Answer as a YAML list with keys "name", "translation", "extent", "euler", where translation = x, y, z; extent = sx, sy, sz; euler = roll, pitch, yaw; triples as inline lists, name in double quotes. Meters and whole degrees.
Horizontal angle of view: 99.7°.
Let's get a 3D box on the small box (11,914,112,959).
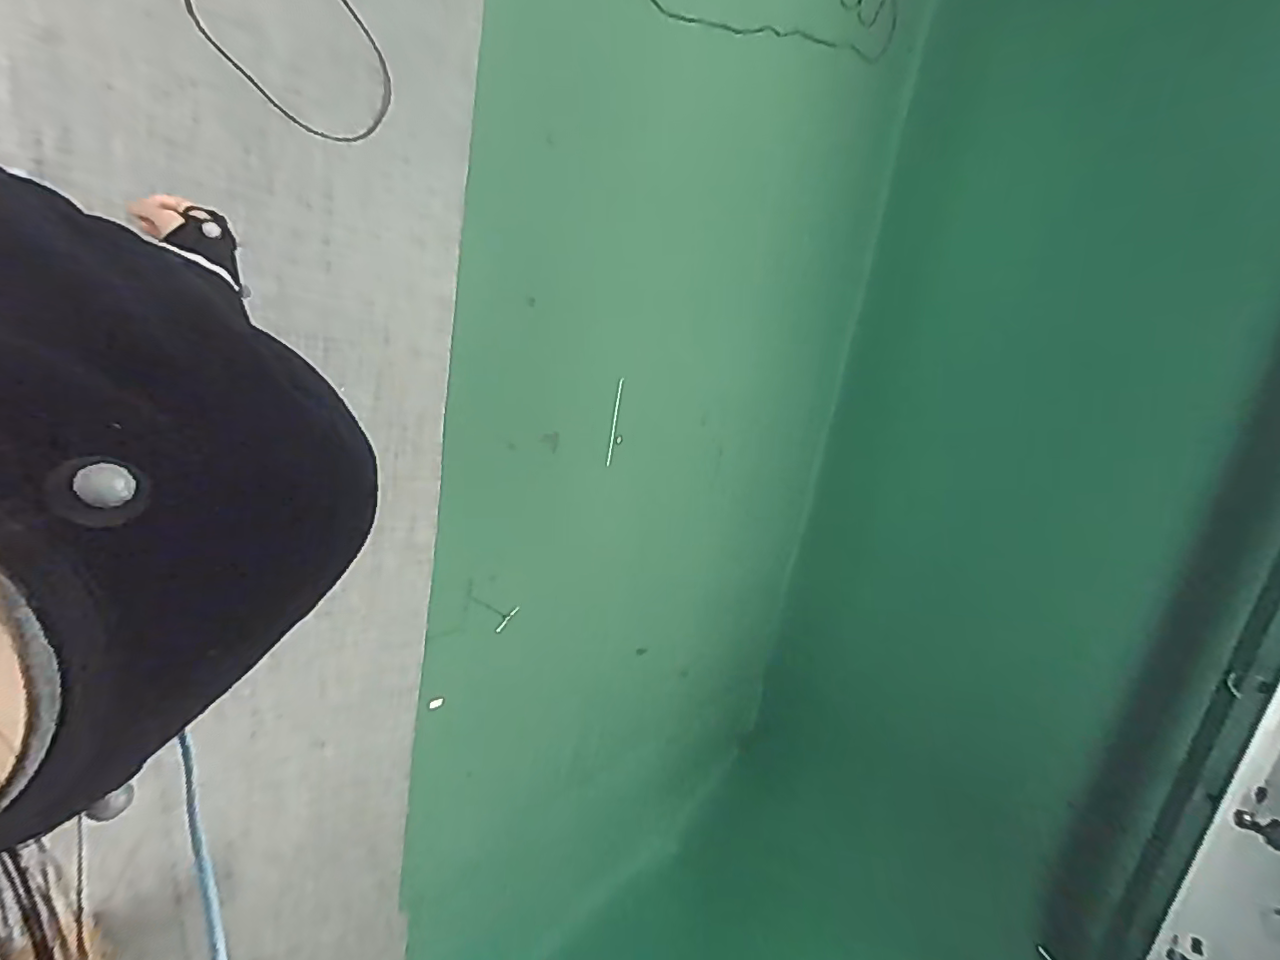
- name: "small box"
  translation: [-1.326, 1.165, 1.232]
  extent: [0.179, 0.176, 0.168]
  euler: [-14, 116, -49]
